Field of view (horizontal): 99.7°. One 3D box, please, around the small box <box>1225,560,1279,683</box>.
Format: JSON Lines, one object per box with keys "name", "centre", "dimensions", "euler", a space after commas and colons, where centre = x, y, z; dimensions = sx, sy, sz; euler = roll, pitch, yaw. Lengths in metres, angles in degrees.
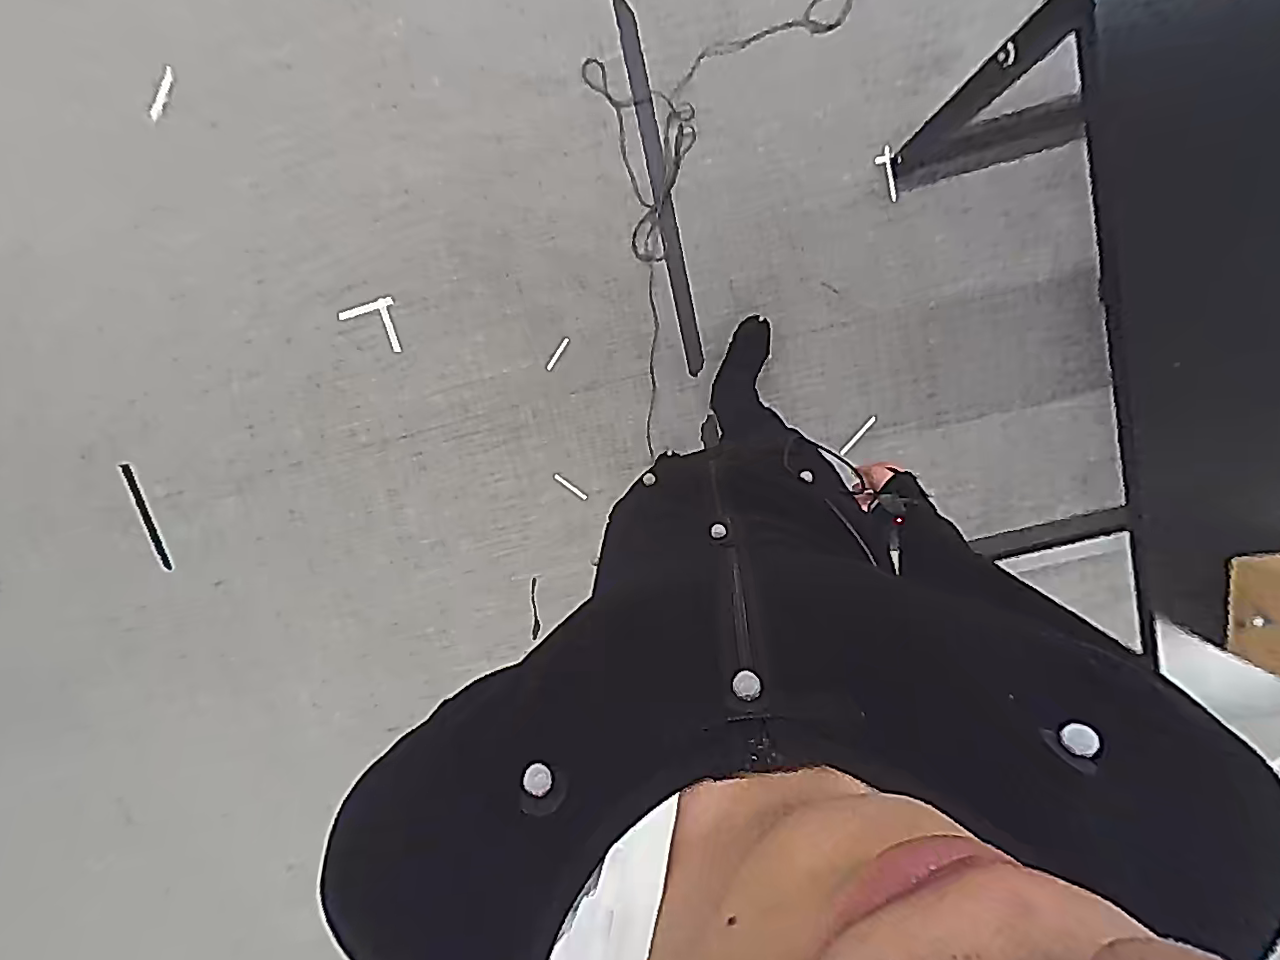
{"name": "small box", "centre": [1.017, 0.214, 0.773], "dimensions": [0.179, 0.176, 0.168], "euler": [-6, 99, 4]}
